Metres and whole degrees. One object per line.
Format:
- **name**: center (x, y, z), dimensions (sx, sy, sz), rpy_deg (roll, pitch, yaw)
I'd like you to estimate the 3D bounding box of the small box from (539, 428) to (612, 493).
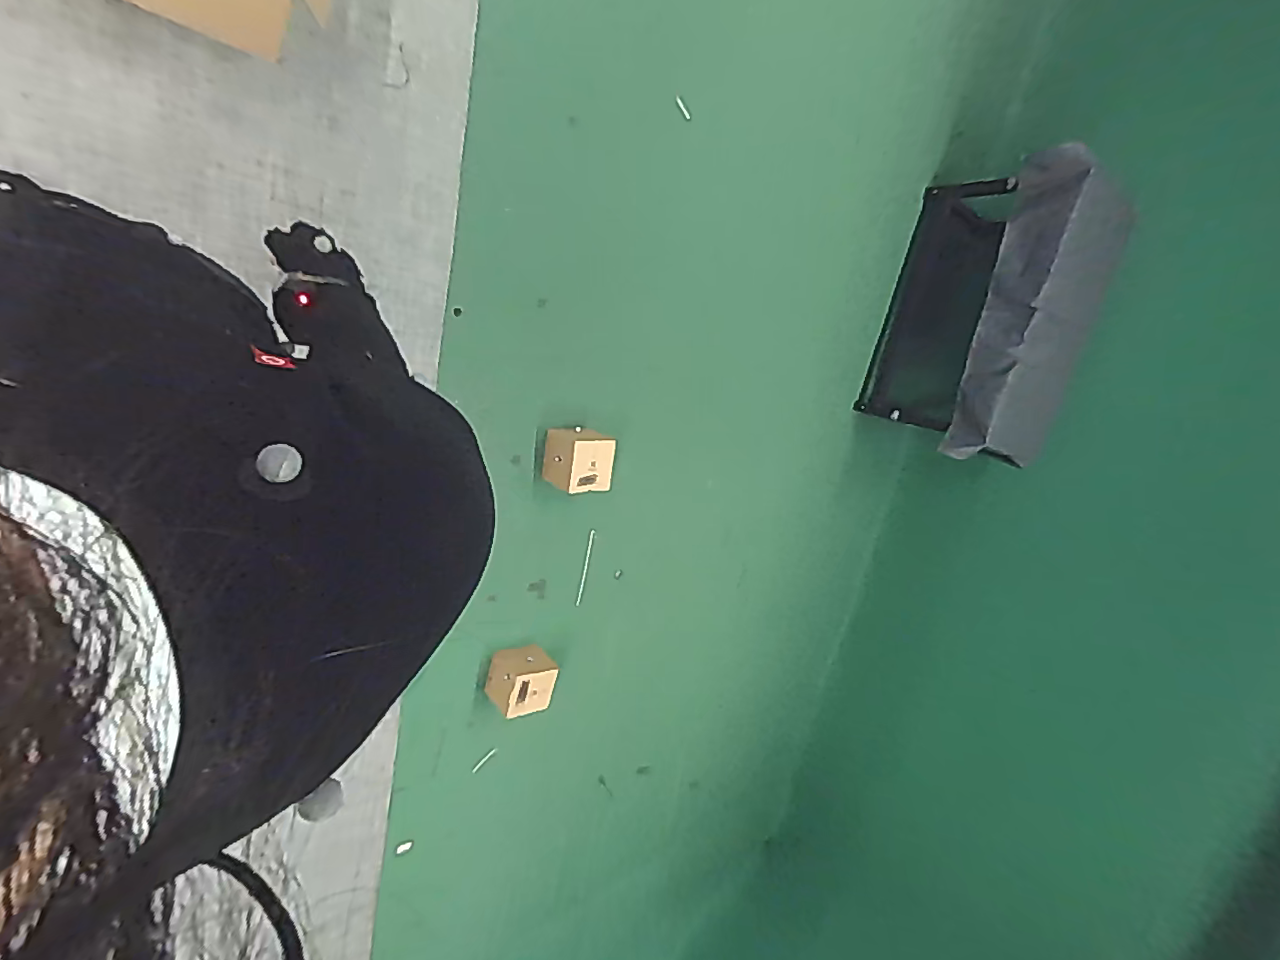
- **small box**: center (-0.219, -0.068, 1.794), dimensions (0.168, 0.176, 0.179), rpy_deg (-4, 110, -42)
